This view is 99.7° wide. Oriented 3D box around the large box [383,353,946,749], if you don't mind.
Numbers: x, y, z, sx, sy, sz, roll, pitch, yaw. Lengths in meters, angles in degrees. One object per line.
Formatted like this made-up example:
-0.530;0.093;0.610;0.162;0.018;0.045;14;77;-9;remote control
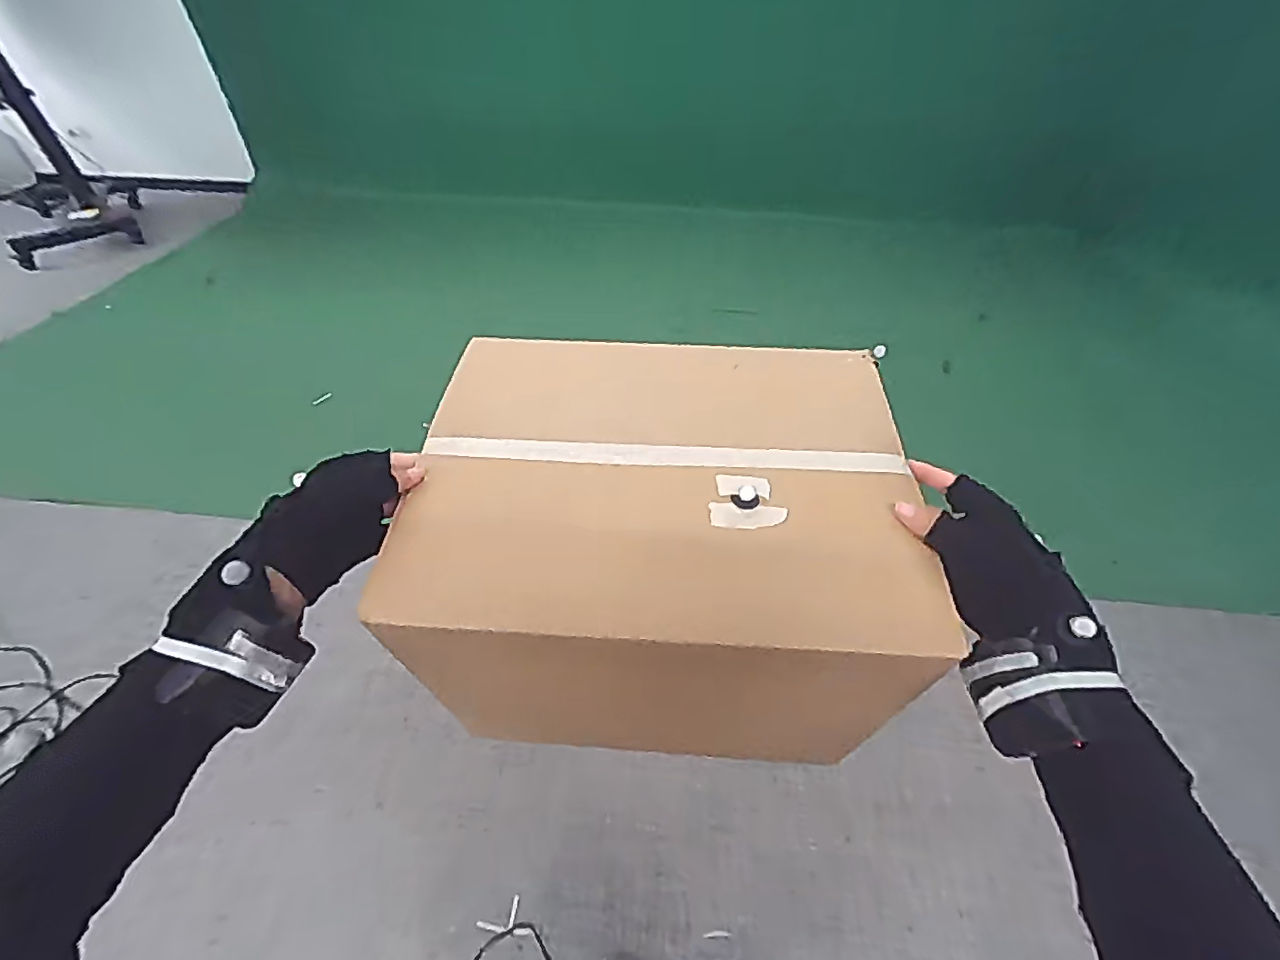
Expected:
0.021;0.081;0.583;0.408;0.320;0.320;2;52;3;large box
